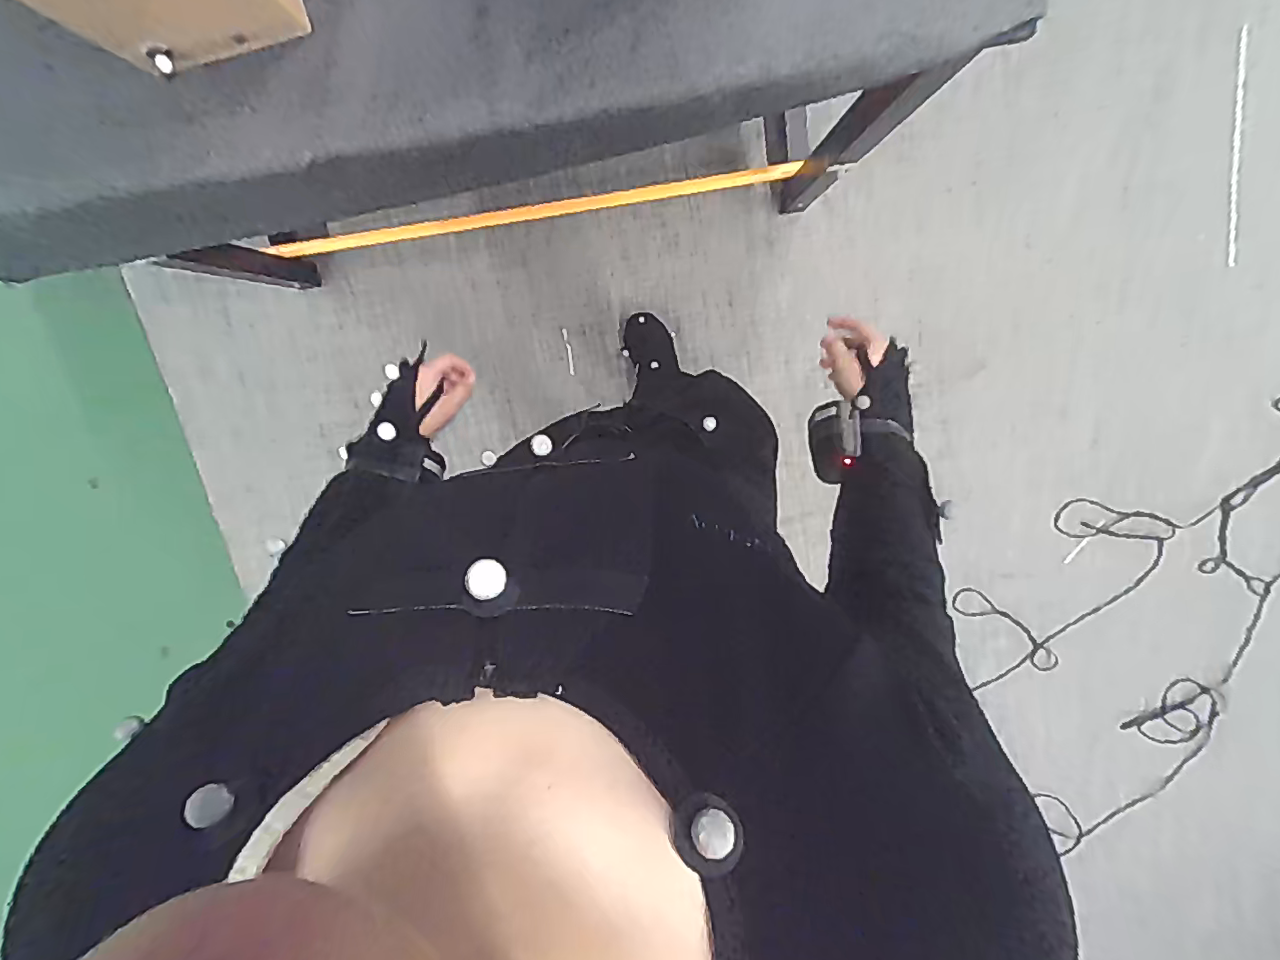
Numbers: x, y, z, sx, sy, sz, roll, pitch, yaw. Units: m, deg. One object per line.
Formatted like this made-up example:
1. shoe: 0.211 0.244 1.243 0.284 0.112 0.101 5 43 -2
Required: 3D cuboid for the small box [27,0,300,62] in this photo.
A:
1. small box: -0.412 -0.470 0.423 0.168 0.176 0.179 -12 102 3
